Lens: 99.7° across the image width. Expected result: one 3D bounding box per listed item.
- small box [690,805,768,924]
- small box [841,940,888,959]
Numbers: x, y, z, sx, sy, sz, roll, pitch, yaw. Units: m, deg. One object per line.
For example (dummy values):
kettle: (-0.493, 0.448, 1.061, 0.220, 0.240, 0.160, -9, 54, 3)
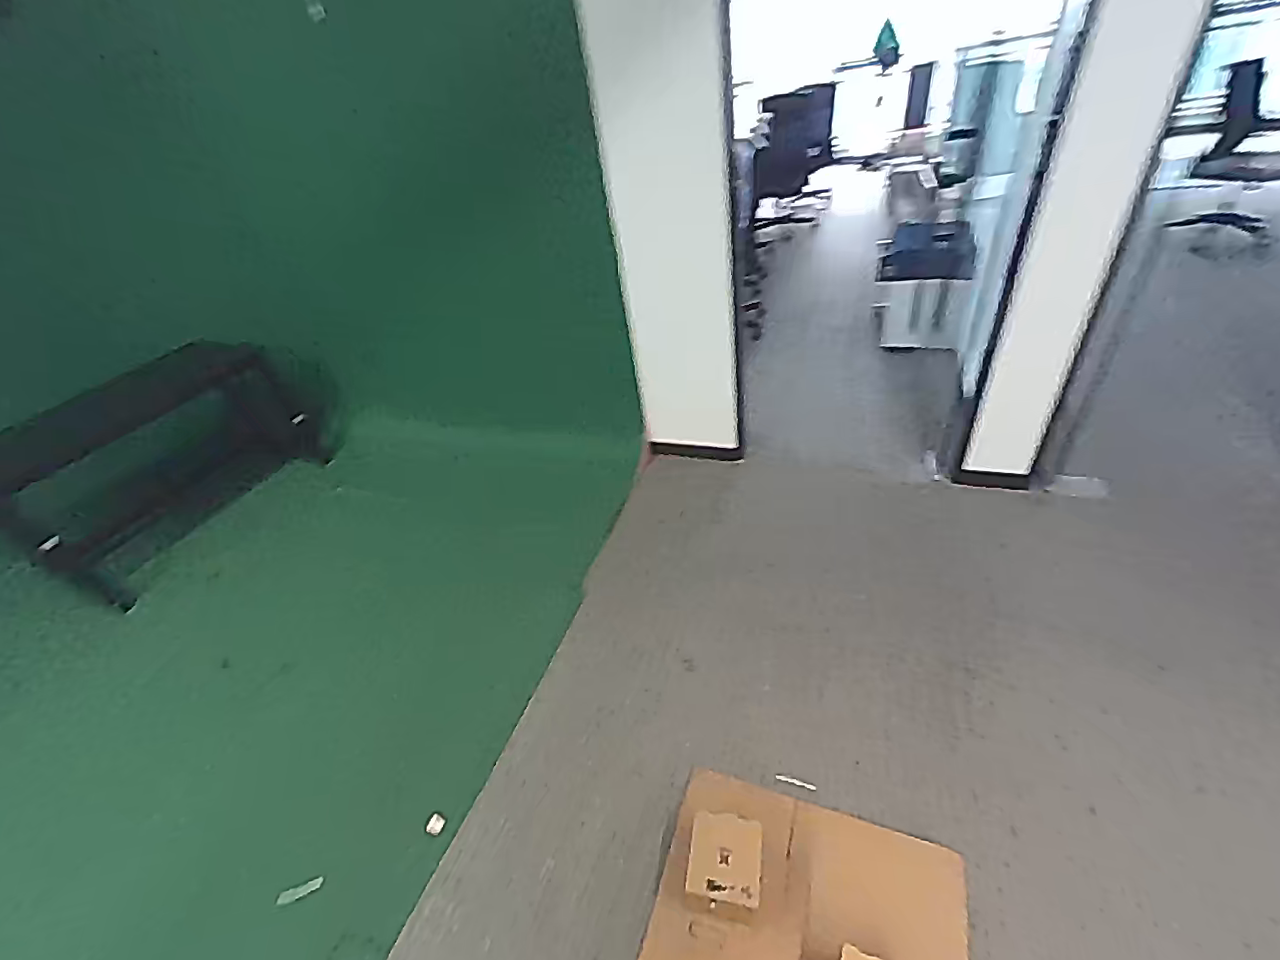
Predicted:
small box: (0.219, 0.929, 1.308, 0.168, 0.176, 0.179, 3, 40, 16)
small box: (0.474, 1.073, 1.069, 0.168, 0.176, 0.179, 10, 42, 24)
